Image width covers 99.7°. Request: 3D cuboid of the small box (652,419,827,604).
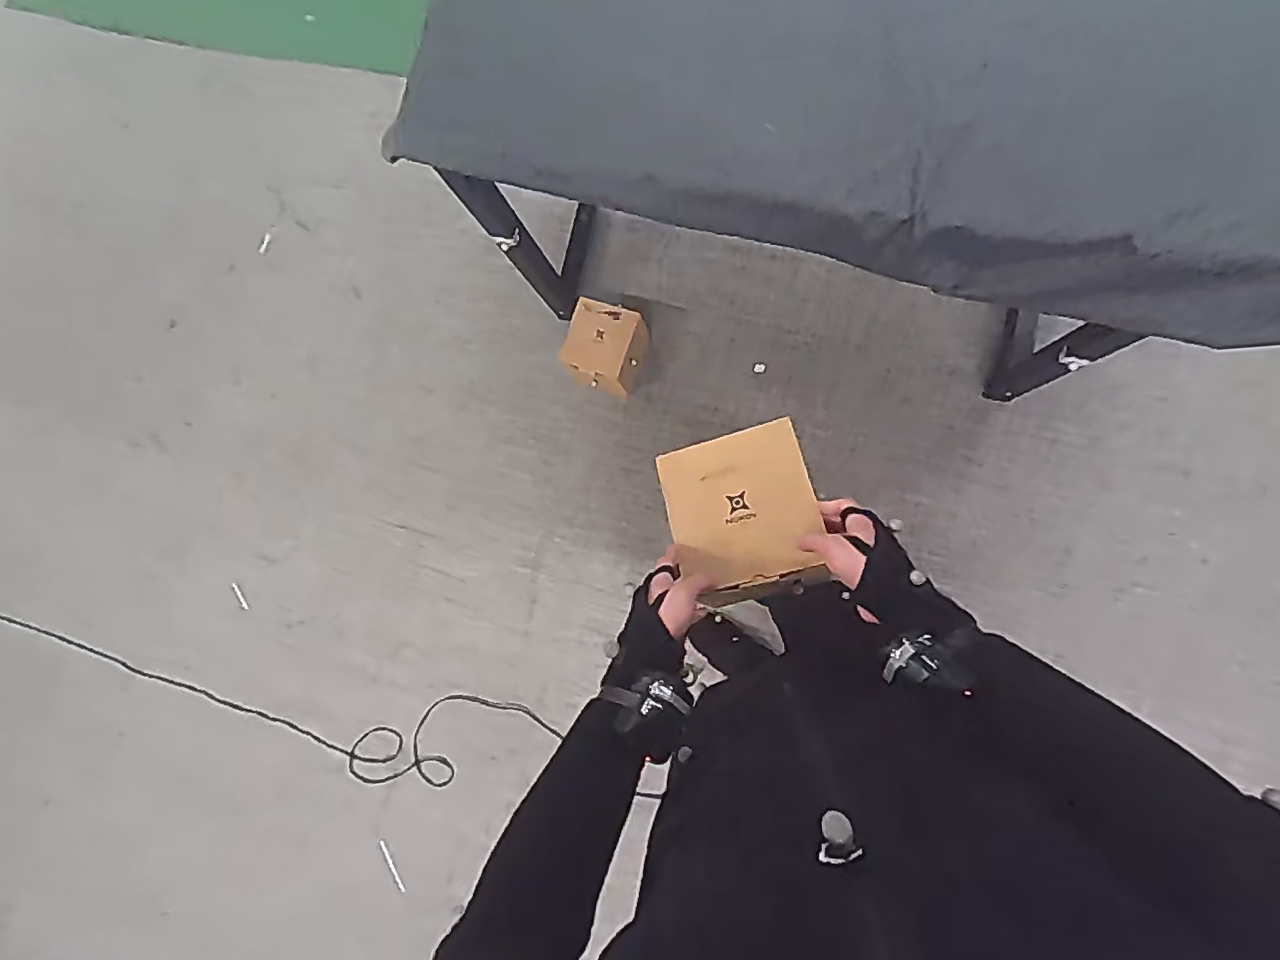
[{"bbox_3d":[0.130,0.053,0.680,0.168,0.176,0.179,-17,67,13],"label":"small box"}]
